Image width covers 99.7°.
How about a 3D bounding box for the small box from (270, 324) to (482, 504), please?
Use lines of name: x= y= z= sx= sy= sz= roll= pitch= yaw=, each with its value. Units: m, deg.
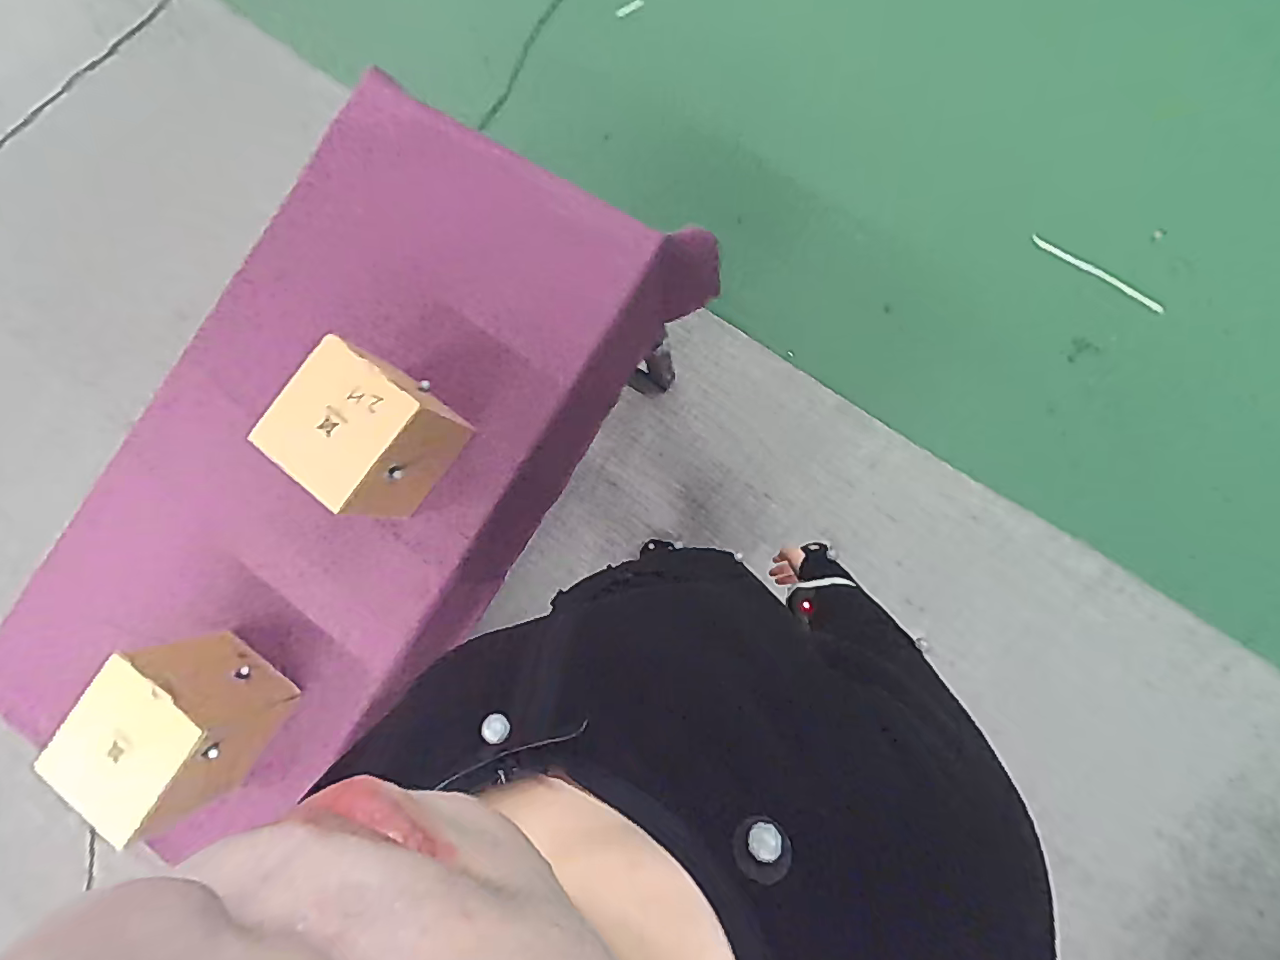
small box: x=-0.361 y=-0.080 z=0.772 sx=0.168 sy=0.176 sz=0.179 roll=41 pitch=90 yaw=9
